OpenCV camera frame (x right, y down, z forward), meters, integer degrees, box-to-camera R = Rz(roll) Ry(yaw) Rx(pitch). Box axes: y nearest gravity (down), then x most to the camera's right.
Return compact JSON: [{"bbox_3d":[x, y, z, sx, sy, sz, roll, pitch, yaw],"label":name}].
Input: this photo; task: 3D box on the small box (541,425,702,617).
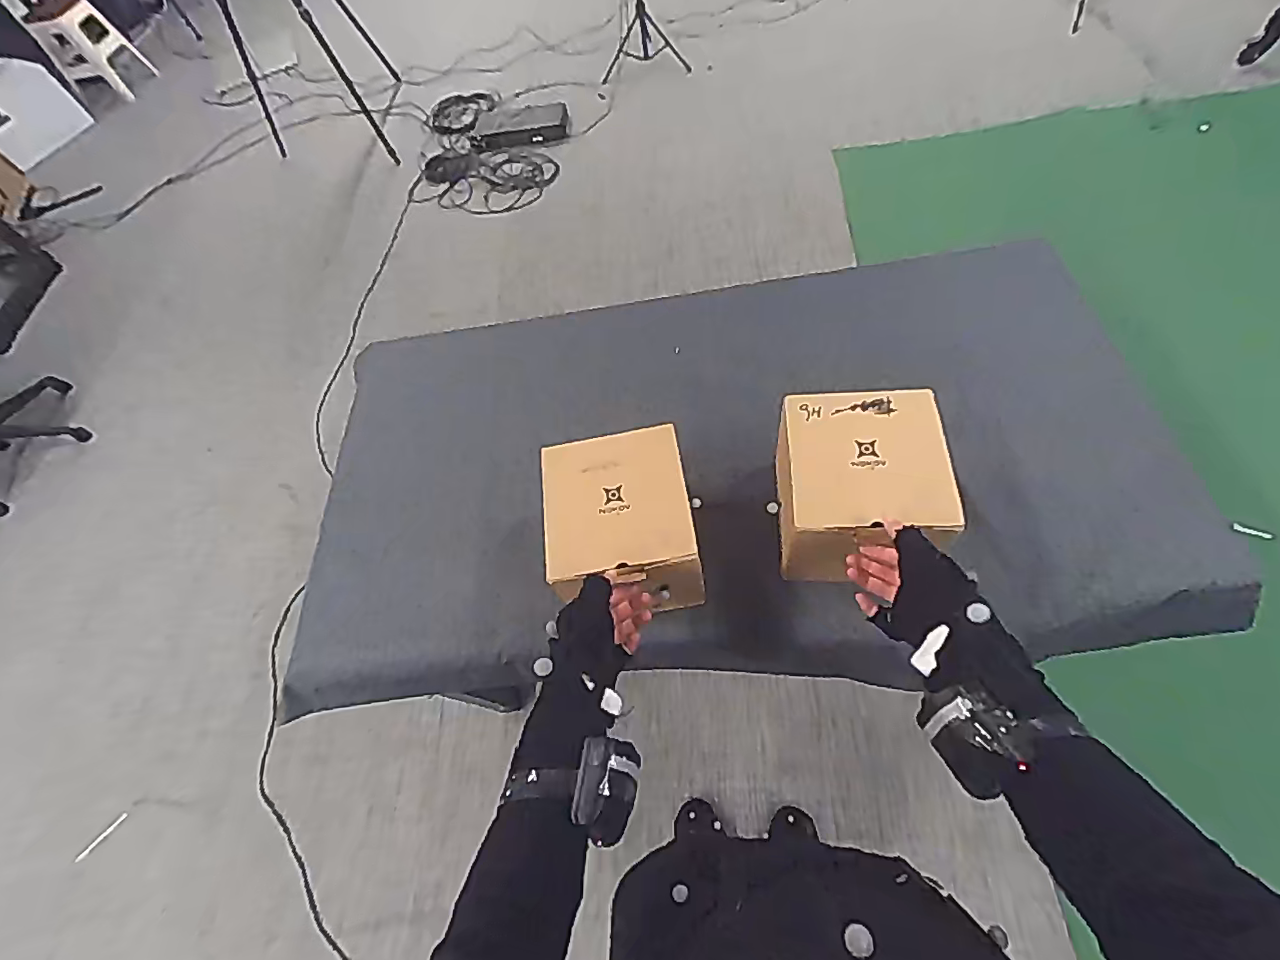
[{"bbox_3d":[-0.018,0.061,0.677,0.168,0.176,0.179,-11,58,2],"label":"small box"}]
